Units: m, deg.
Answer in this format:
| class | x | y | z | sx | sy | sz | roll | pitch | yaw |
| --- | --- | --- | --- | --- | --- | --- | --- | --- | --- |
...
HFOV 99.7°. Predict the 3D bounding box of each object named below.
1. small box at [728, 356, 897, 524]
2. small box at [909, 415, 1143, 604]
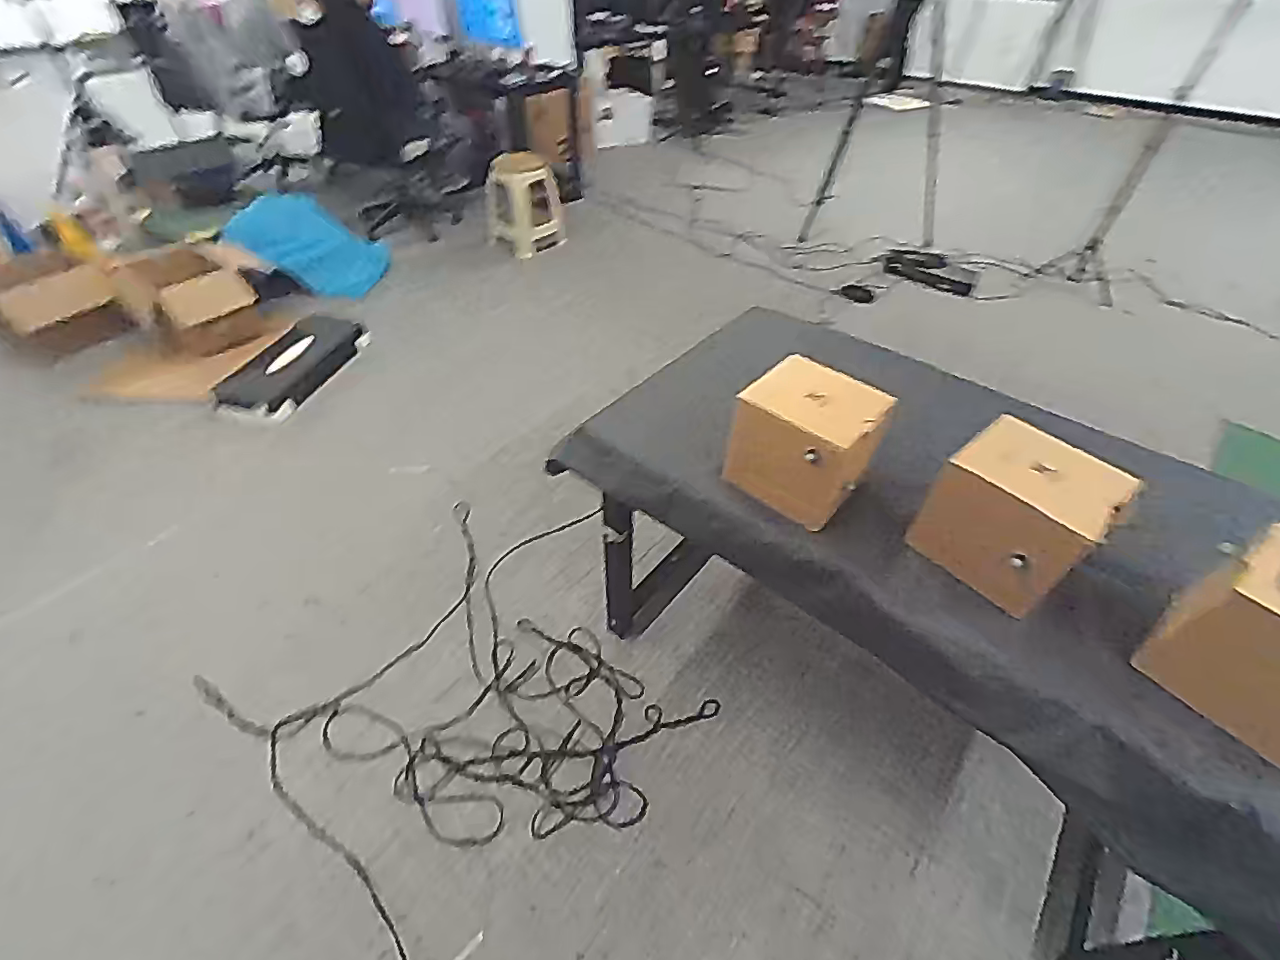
| class | x | y | z | sx | sy | sz | roll | pitch | yaw |
| --- | --- | --- | --- | --- | --- | --- | --- | --- | --- |
| small box | 0.257 | -0.063 | 0.843 | 0.179 | 0.176 | 0.168 | 33 | 52 | 27 |
| small box | 0.514 | 0.045 | 0.742 | 0.168 | 0.176 | 0.179 | -29 | 51 | -29 |
